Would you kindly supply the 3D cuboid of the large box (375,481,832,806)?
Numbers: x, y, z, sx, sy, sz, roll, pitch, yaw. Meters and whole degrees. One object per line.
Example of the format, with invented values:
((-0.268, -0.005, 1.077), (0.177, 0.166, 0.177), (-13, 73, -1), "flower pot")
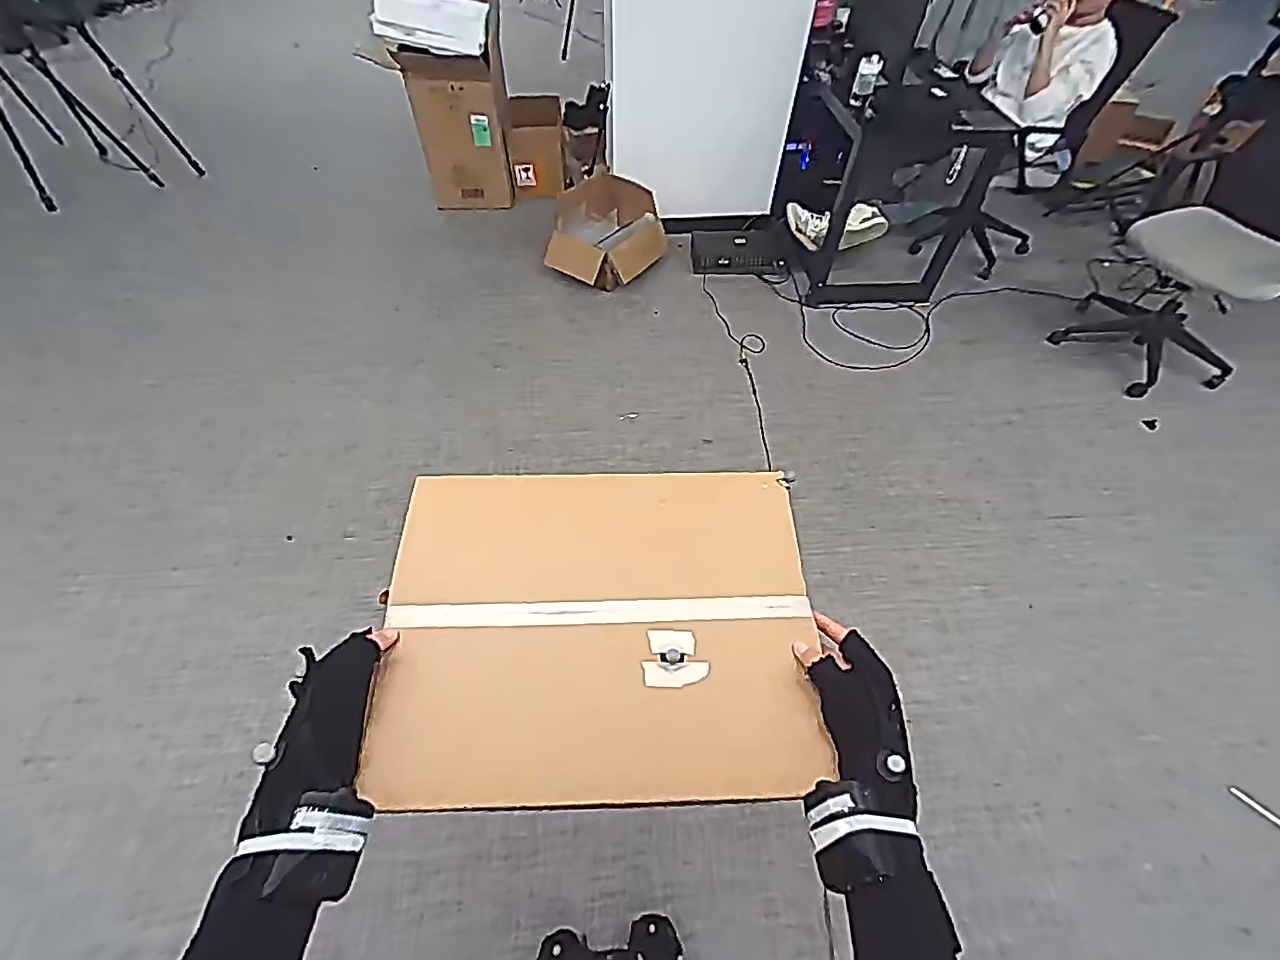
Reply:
((-0.039, 0.212, 0.666), (0.408, 0.320, 0.320), (0, 60, -2), "large box")
